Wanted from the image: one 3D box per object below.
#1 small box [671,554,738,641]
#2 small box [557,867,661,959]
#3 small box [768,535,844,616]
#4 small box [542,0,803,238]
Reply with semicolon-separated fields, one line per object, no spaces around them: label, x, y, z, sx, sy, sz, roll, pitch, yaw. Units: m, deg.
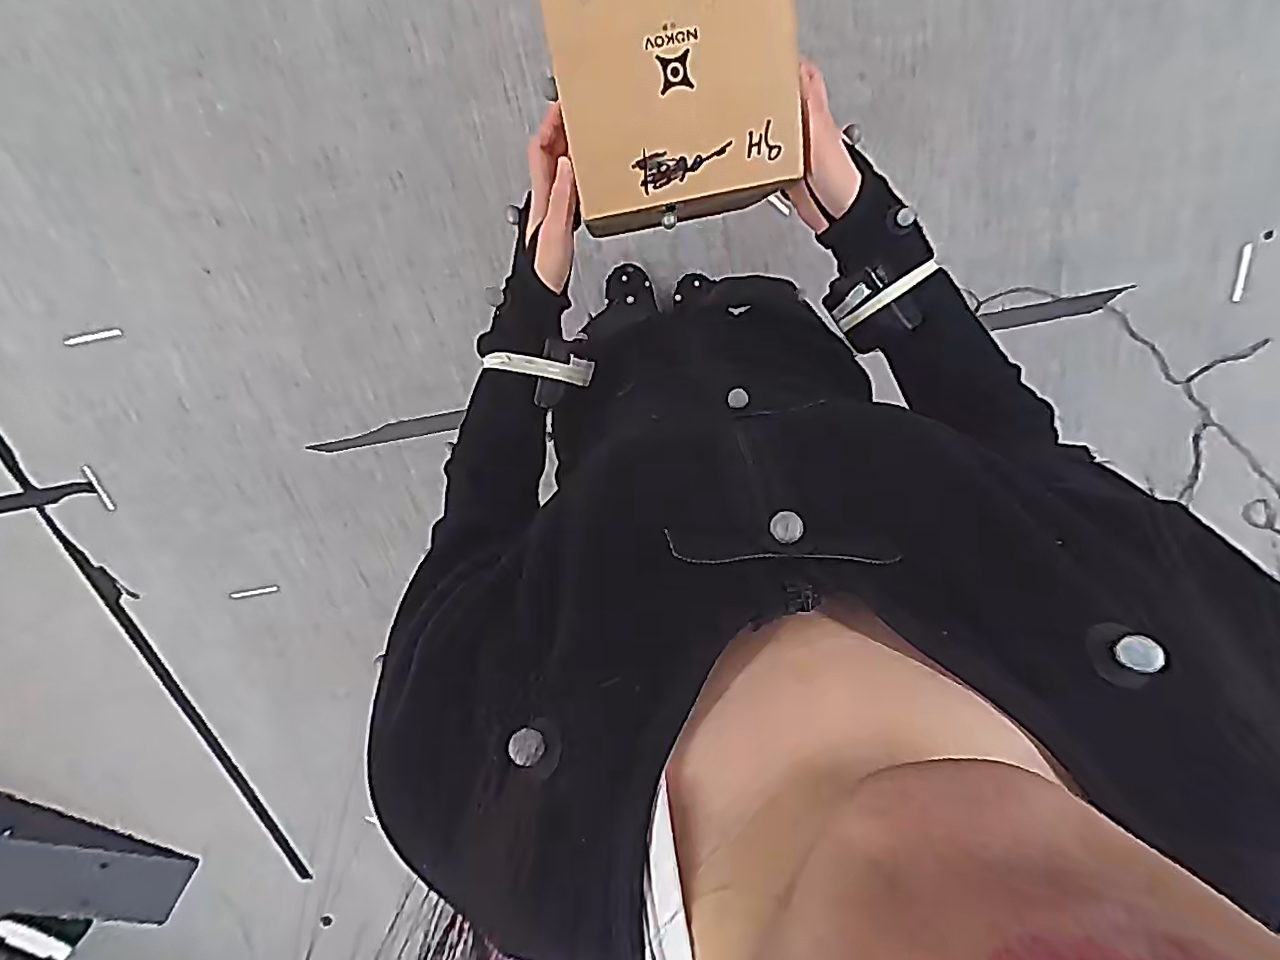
small box;0.192;0.349;1.623;0.168;0.176;0.179;-12;112;4
small box;-0.054;0.902;1.060;0.179;0.176;0.168;-9;114;2
small box;0.488;0.275;1.600;0.179;0.176;0.168;-8;112;3
small box;0.019;-0.309;0.437;0.168;0.176;0.179;-11;110;1
